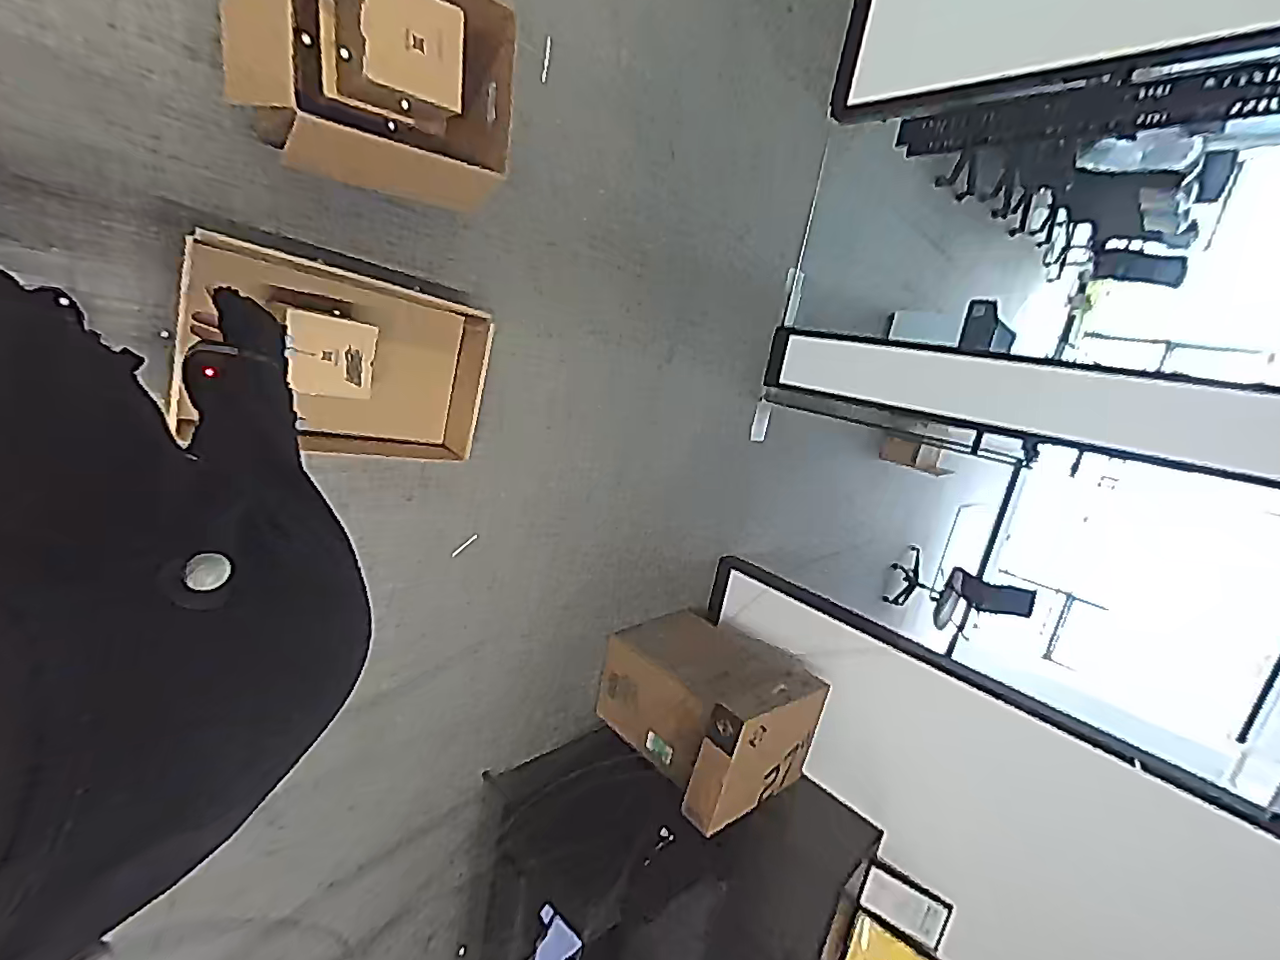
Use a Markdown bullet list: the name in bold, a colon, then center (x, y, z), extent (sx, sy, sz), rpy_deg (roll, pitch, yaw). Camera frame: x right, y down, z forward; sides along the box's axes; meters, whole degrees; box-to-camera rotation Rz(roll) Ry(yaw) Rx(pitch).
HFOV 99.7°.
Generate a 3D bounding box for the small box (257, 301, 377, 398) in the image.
- **small box**: center (-0.705, -0.285, 1.179), extent (0.179, 0.176, 0.168), rpy_deg (1, 107, -47)

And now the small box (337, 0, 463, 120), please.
- **small box**: center (-0.453, -0.799, 1.010), extent (0.179, 0.176, 0.168), rpy_deg (-8, 113, -43)
